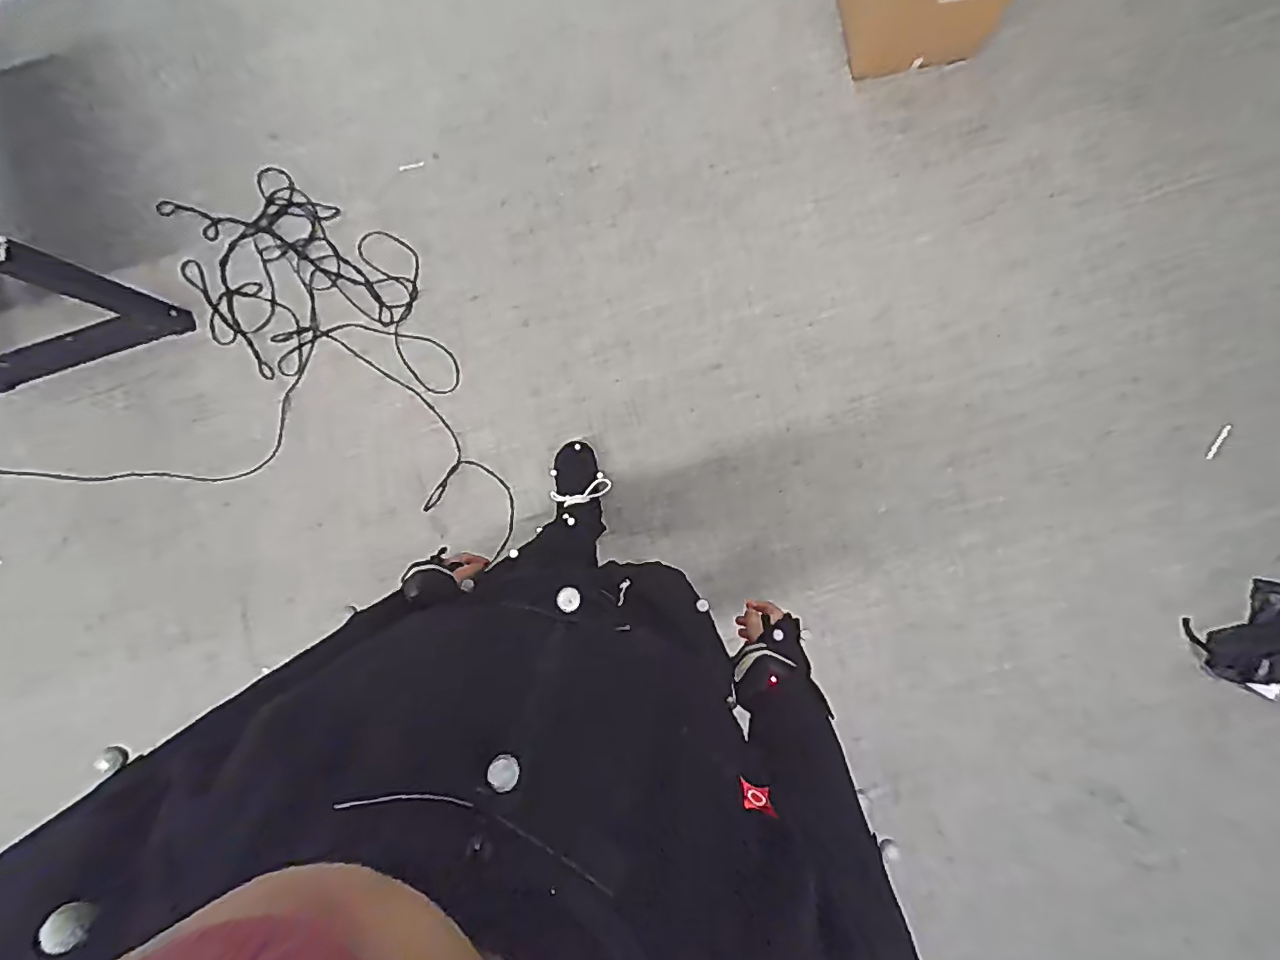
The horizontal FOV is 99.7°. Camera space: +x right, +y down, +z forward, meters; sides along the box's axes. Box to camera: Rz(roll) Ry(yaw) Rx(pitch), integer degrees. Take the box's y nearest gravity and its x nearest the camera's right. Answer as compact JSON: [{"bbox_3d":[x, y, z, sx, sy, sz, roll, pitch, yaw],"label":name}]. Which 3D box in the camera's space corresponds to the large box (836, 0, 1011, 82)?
[{"bbox_3d":[0.662,-1.257,1.261,0.320,0.320,0.408,-11,88,2],"label":"large box"}]
